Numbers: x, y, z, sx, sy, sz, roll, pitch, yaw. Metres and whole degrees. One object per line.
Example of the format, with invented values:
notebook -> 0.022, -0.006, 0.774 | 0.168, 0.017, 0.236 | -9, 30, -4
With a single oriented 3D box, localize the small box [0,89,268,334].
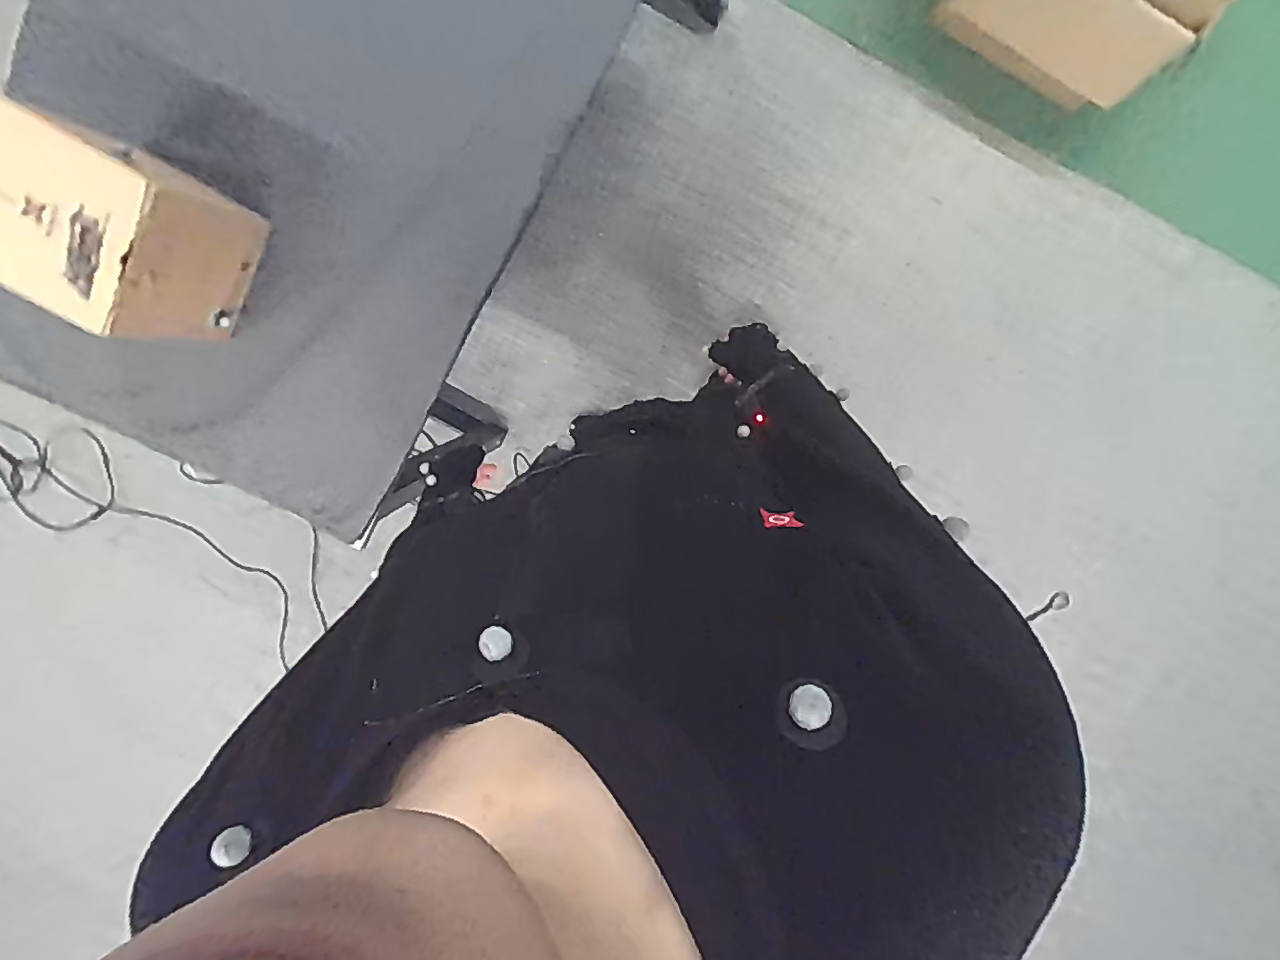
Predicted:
small box -> -0.570, -0.279, 0.605 | 0.179, 0.176, 0.168 | 29, 102, -4
